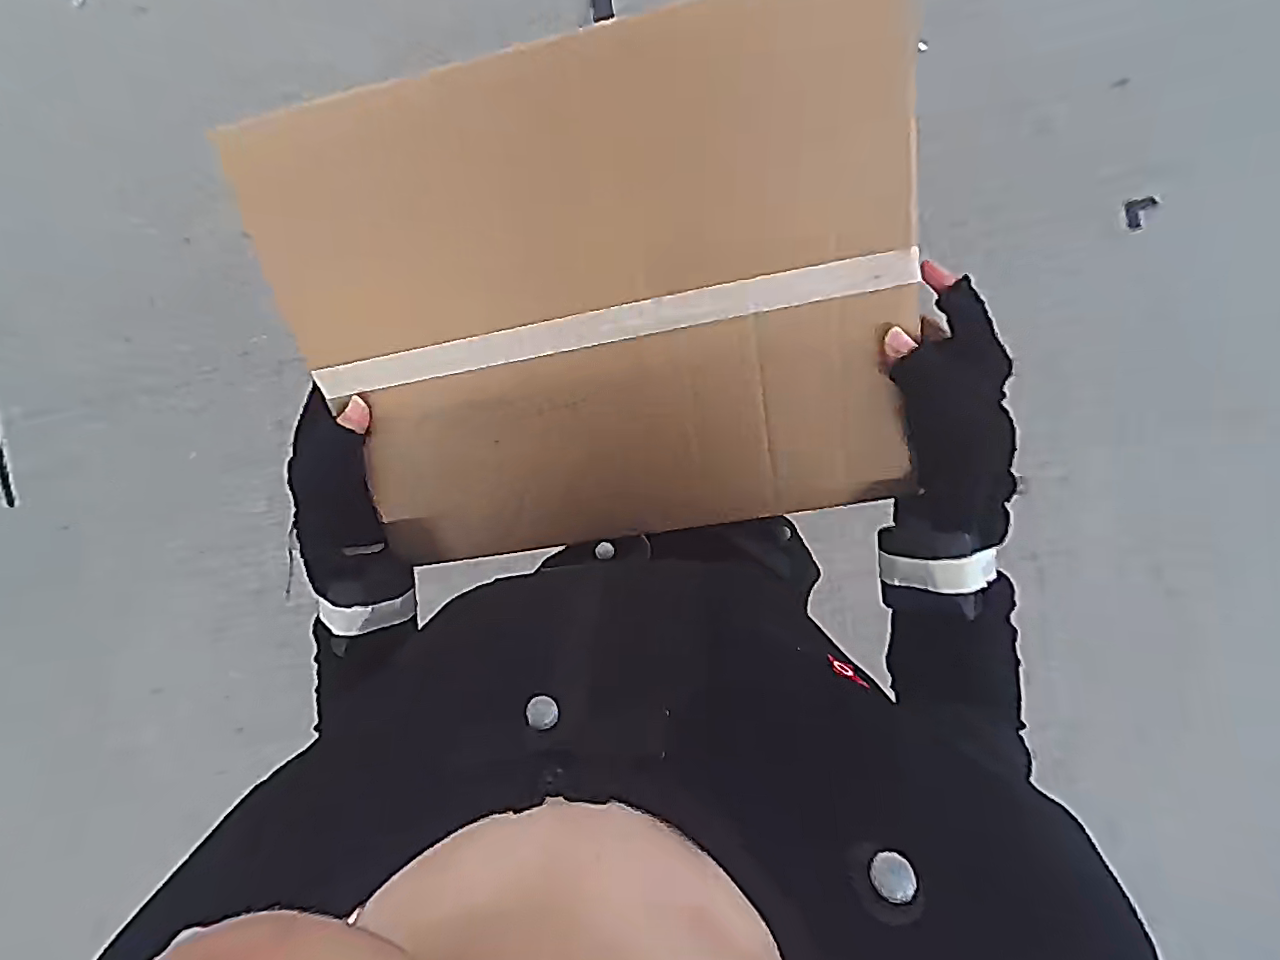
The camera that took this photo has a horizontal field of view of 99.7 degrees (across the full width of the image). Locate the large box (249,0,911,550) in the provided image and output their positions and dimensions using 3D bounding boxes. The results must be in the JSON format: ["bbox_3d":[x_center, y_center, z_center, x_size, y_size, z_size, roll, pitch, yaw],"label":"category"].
[{"bbox_3d":[-0.017,-0.169,0.502,0.408,0.320,0.320,-9,114,8],"label":"large box"}]
